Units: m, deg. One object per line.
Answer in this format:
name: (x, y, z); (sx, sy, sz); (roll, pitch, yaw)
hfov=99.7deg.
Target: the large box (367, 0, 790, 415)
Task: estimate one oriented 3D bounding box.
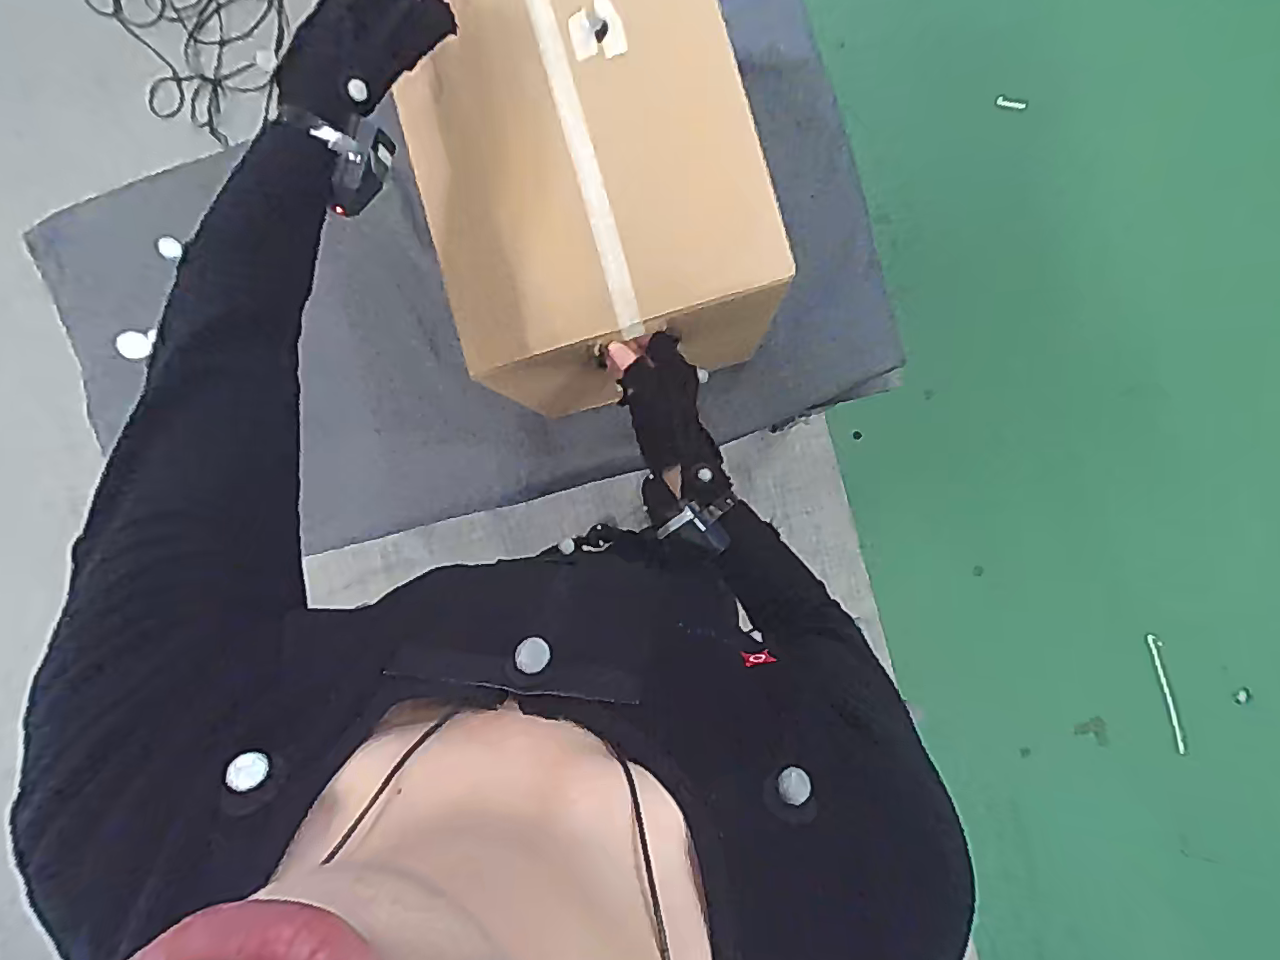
large box: (-0.051, -0.329, 0.646); (0.320, 0.320, 0.408); (-16, 87, 4)
